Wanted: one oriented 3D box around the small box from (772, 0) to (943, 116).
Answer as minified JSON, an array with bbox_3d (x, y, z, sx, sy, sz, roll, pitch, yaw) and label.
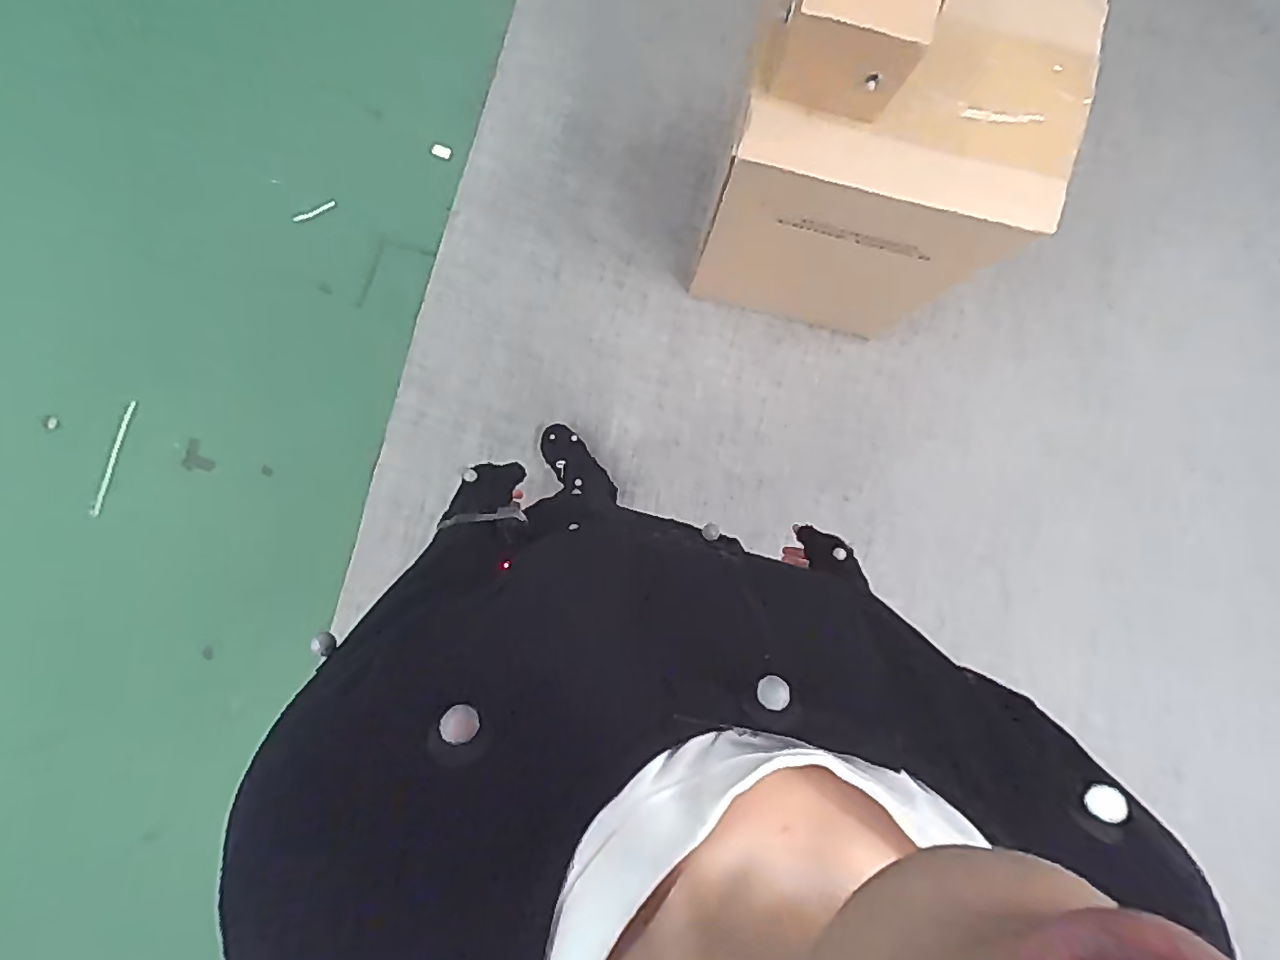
[{"bbox_3d":[0.304,-0.653,0.760,0.179,0.176,0.168,13,93,0],"label":"small box"}]
